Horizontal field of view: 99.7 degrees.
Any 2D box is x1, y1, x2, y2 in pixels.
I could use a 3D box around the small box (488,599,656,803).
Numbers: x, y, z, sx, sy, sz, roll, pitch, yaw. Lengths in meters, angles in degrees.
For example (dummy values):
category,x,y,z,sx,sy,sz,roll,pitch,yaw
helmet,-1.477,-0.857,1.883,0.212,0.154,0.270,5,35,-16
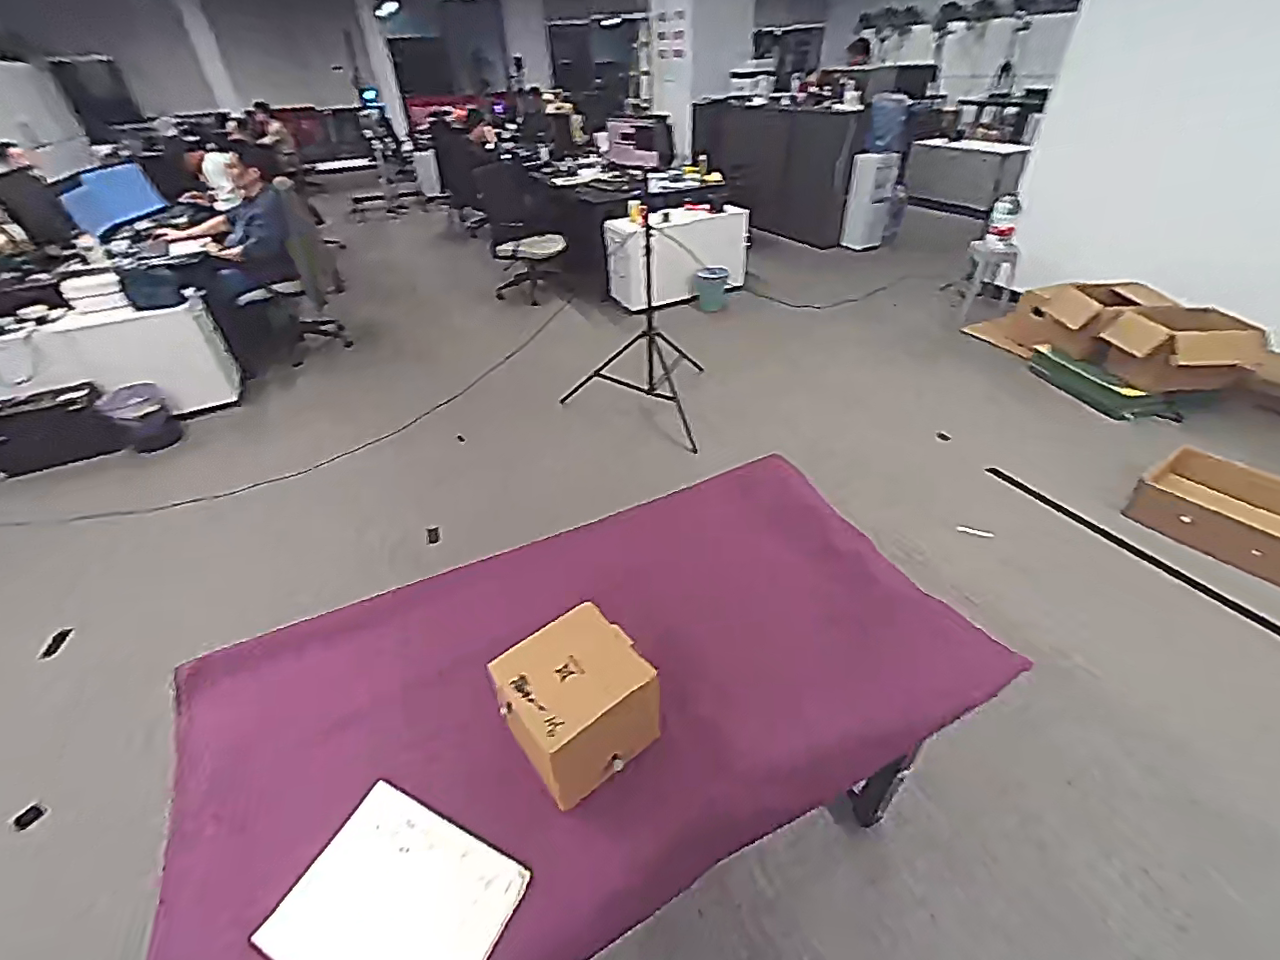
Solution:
category,x,y,z,sx,sy,sz,roll,pitch,yaw
small box,-0.094,0.315,0.784,0.179,0.176,0.168,-27,43,-29
